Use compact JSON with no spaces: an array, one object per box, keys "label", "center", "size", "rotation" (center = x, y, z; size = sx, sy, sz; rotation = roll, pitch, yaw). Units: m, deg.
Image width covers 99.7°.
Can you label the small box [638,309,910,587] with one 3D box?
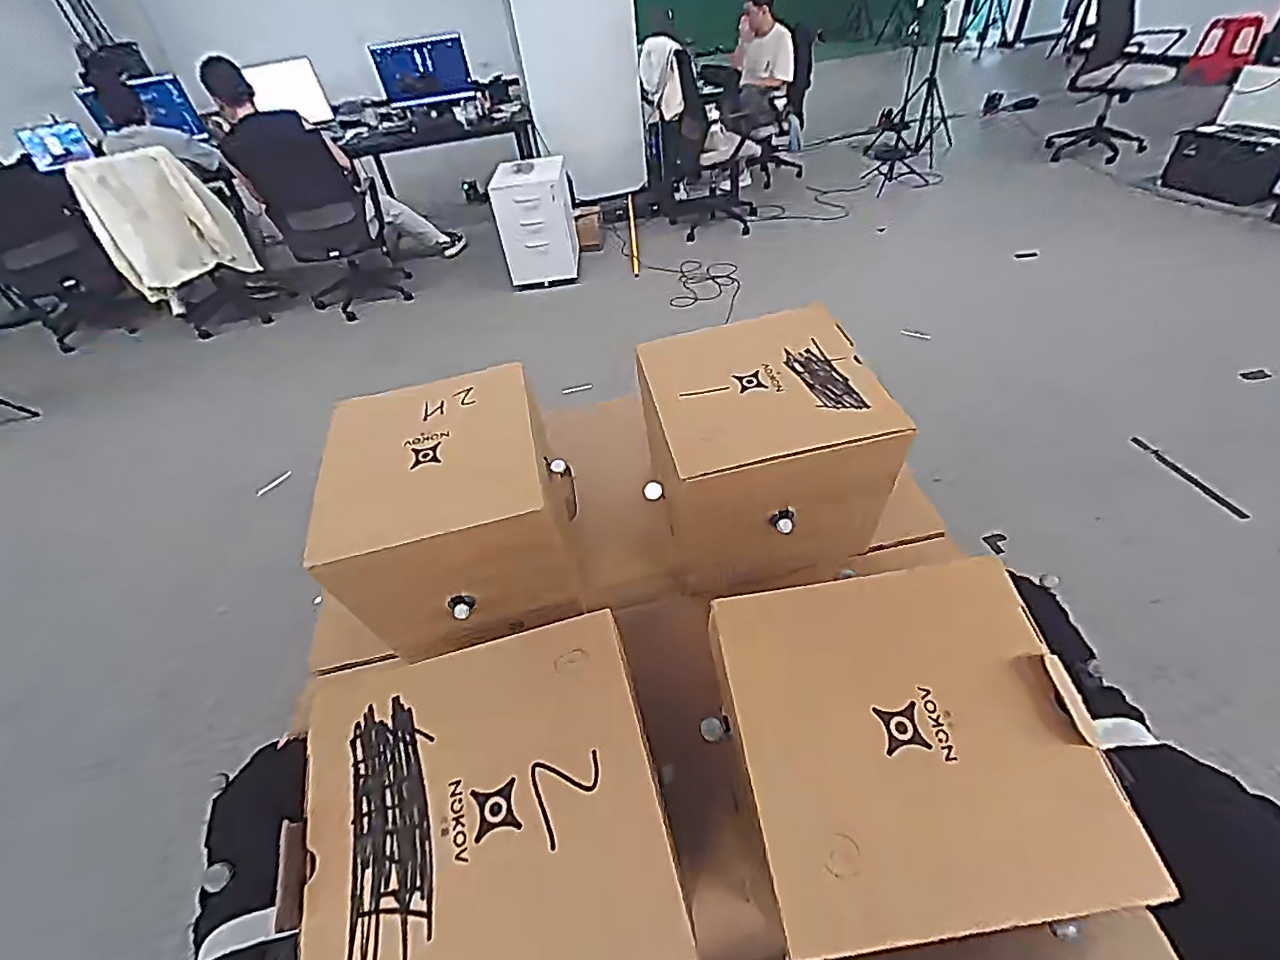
[{"label":"small box","center":[0.103,-0.024,0.492],"size":[0.179,0.176,0.168],"rotation":[-12,51,-2]}]

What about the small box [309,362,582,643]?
[{"label":"small box","center":[-0.154,0.028,0.483],"size":[0.168,0.176,0.179],"rotation":[-13,50,-4]}]
